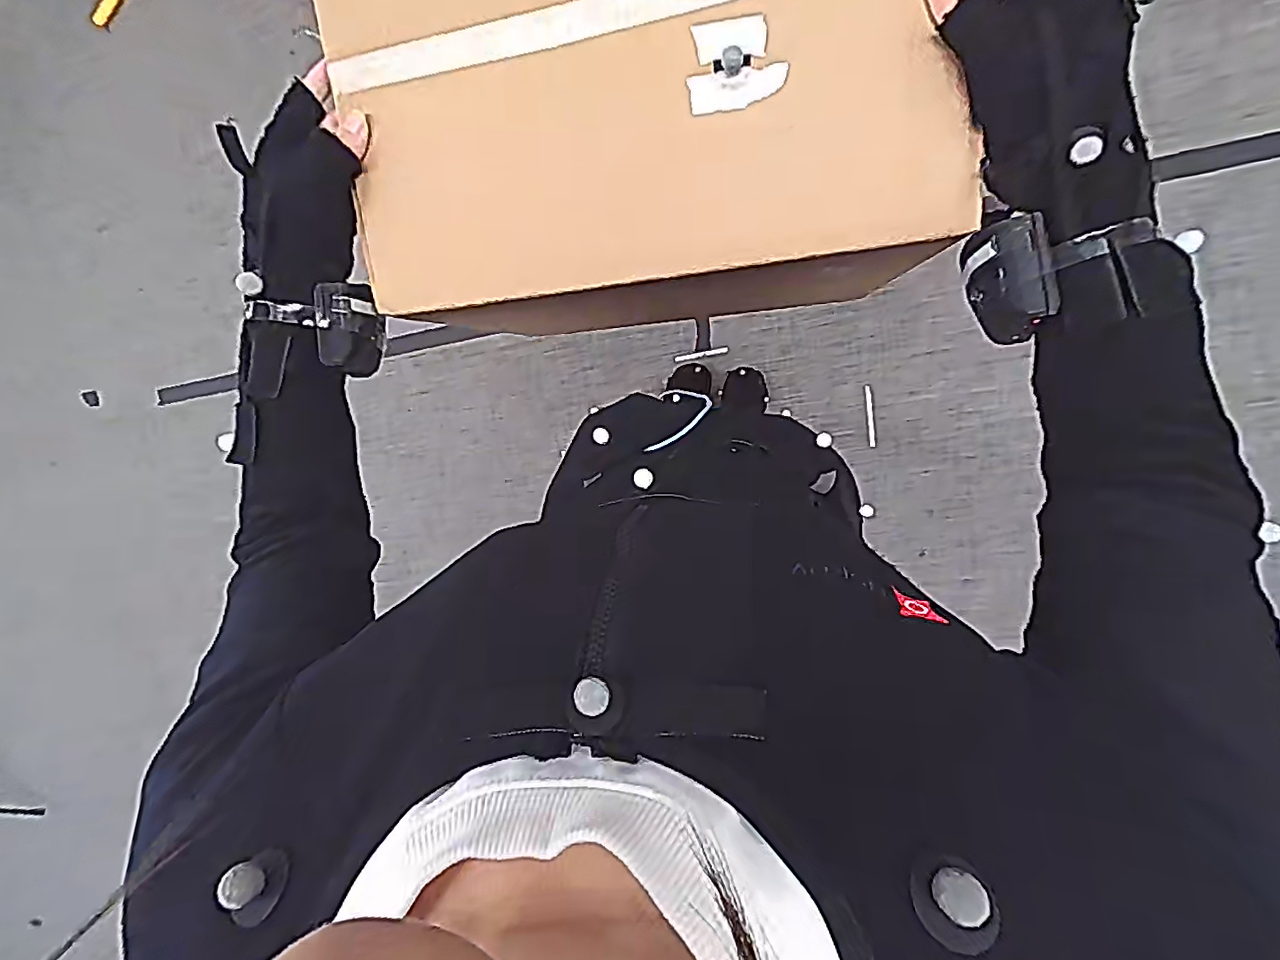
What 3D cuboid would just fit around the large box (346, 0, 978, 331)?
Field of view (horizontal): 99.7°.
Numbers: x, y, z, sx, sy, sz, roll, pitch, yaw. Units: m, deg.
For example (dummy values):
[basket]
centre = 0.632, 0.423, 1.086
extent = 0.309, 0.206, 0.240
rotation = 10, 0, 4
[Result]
[large box]
centre = 0.020, -0.326, 0.486
extent = 0.408, 0.320, 0.320
rotation = -4, 102, 11
